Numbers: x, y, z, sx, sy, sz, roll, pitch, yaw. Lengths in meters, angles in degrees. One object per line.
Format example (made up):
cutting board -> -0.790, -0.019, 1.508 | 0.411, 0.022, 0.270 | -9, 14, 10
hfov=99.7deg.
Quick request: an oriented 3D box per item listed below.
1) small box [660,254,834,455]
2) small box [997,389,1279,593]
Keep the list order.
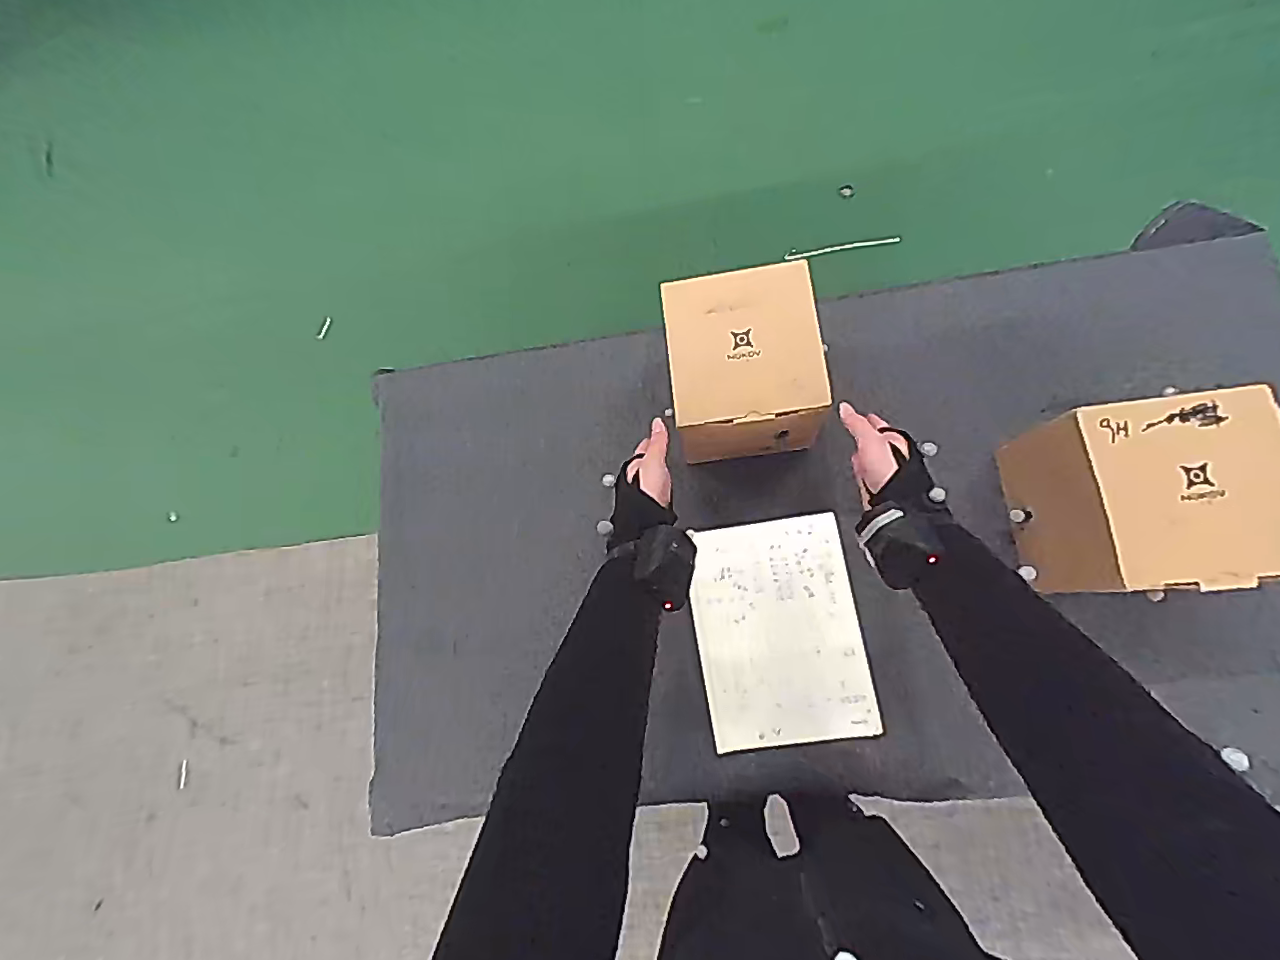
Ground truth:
small box -> 0.121, -0.134, 0.650 | 0.168, 0.176, 0.179 | -8, 77, 6
small box -> 0.517, 0.021, 0.571 | 0.168, 0.176, 0.179 | -7, 79, 7
